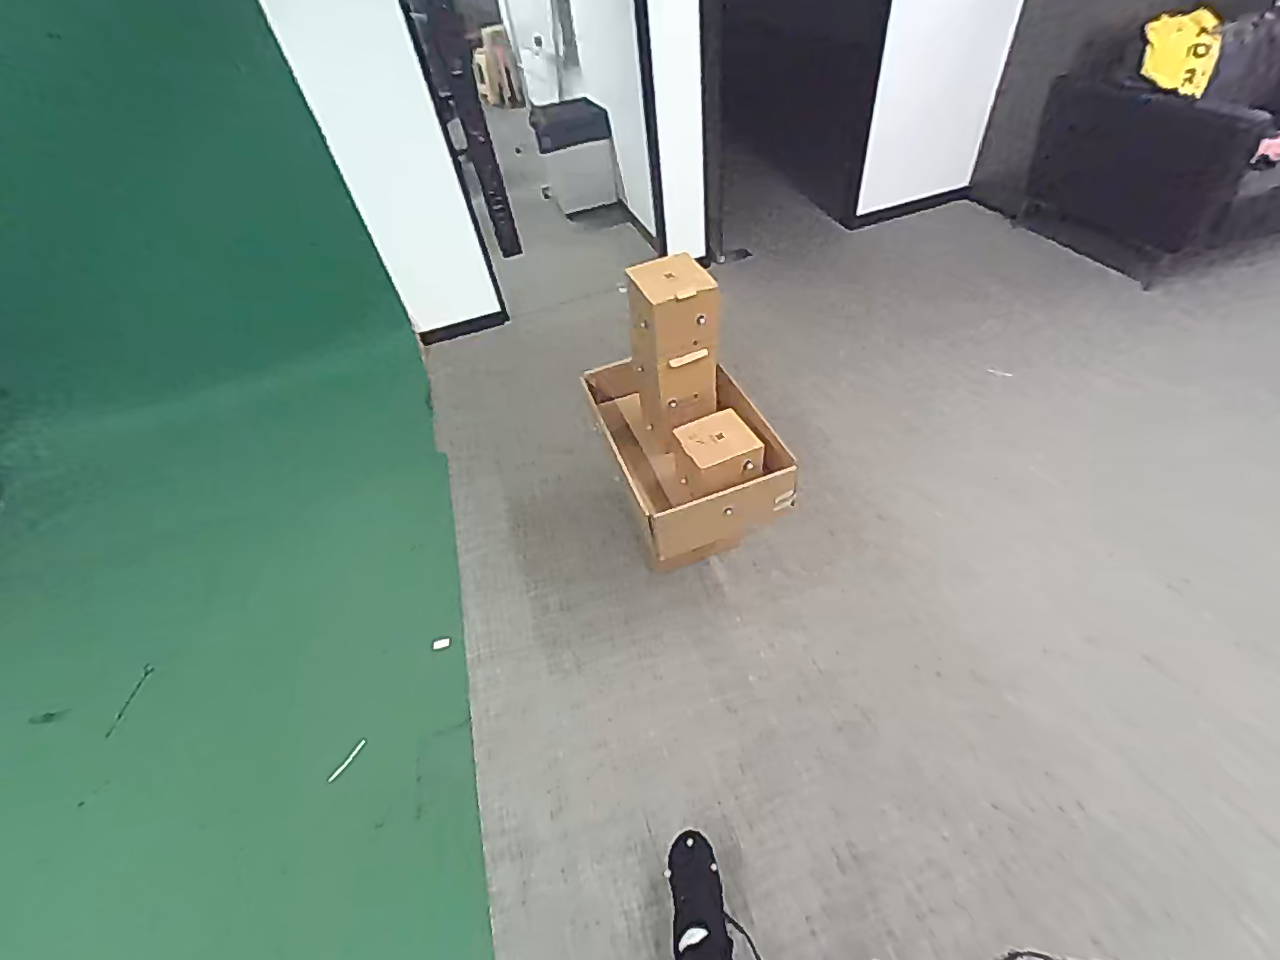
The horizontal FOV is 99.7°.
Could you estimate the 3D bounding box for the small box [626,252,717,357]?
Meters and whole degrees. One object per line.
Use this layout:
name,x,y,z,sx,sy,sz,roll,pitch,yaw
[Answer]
small box,0.078,-0.418,1.313,0.168,0.176,0.179,-19,51,-10

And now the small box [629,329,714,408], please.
small box,0.086,-0.311,1.437,0.168,0.176,0.179,-22,51,-12
